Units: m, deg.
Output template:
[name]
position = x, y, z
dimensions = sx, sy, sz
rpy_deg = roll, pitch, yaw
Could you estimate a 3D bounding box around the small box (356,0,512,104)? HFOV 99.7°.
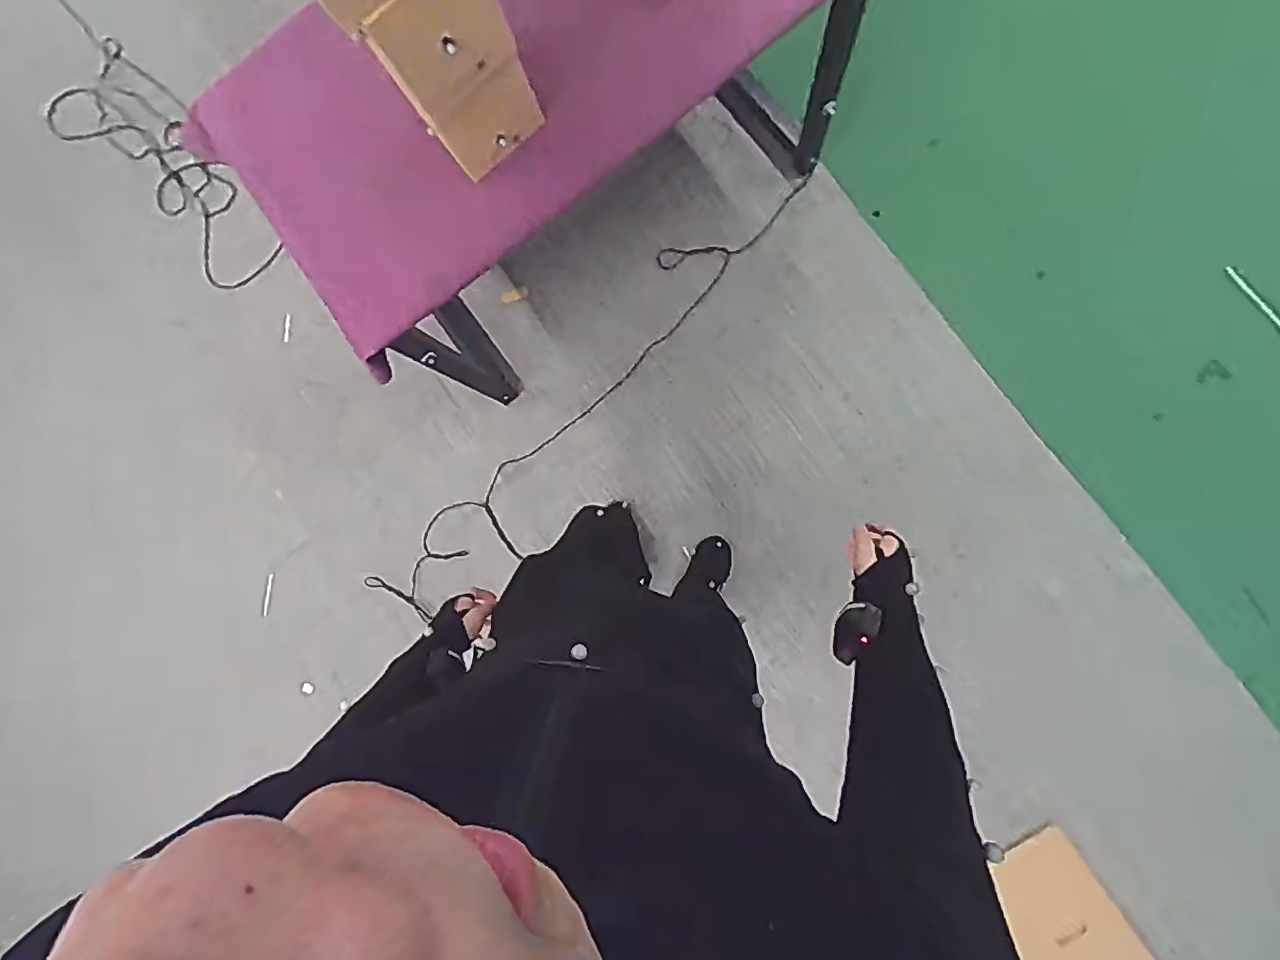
[small box]
position = -0.299, -0.648, 0.714
dimensions = 0.168, 0.176, 0.179
rpy_deg = -38, 84, 4
